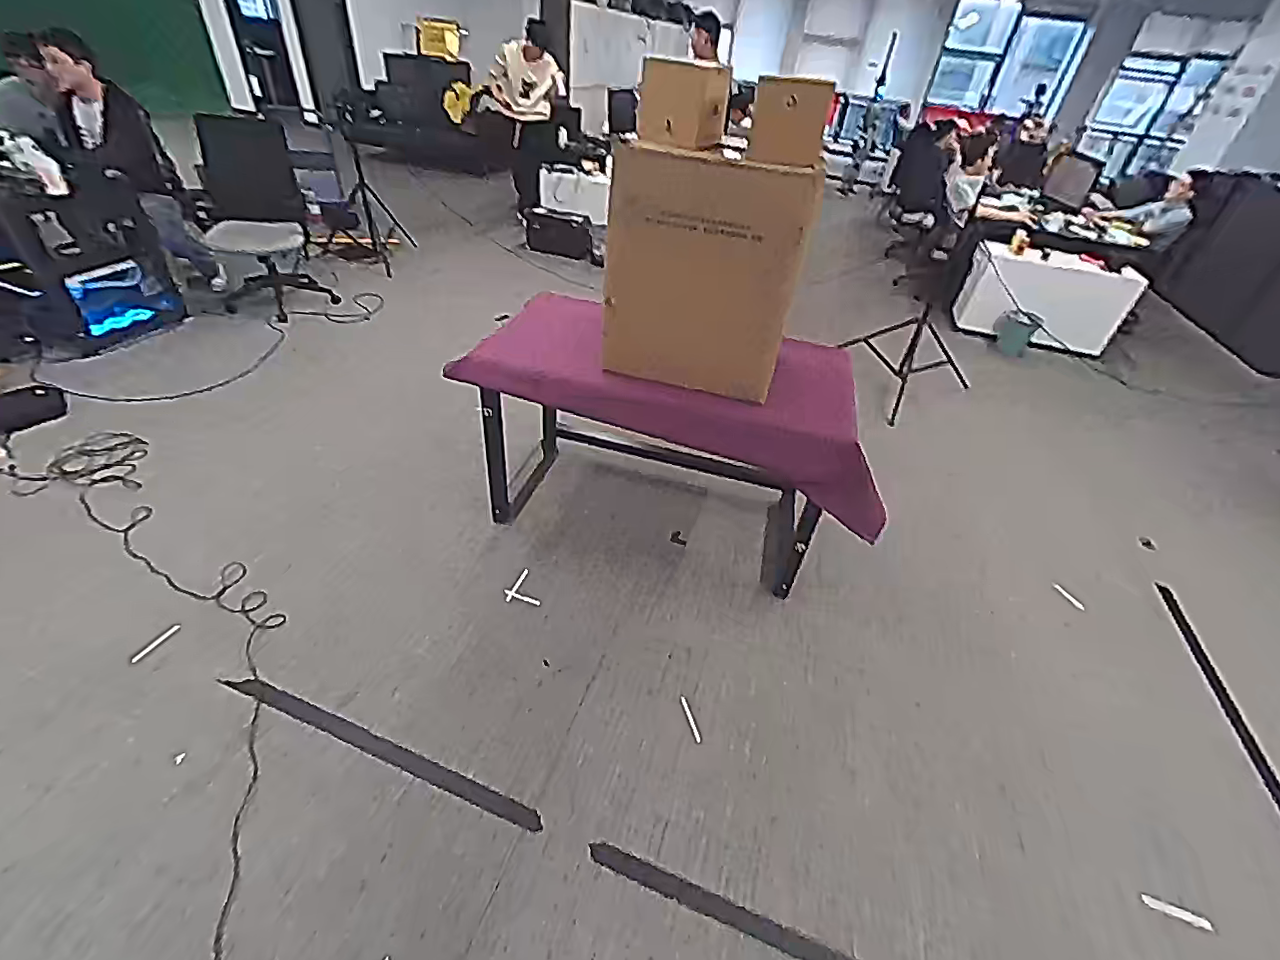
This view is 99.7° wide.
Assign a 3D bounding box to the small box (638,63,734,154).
[{"bbox_3d":[0.112,-0.939,1.370,0.179,0.176,0.168,25,43,19],"label":"small box"}]

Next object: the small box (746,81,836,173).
[{"bbox_3d":[0.359,-0.851,1.304,0.179,0.176,0.168,12,40,8],"label":"small box"}]
